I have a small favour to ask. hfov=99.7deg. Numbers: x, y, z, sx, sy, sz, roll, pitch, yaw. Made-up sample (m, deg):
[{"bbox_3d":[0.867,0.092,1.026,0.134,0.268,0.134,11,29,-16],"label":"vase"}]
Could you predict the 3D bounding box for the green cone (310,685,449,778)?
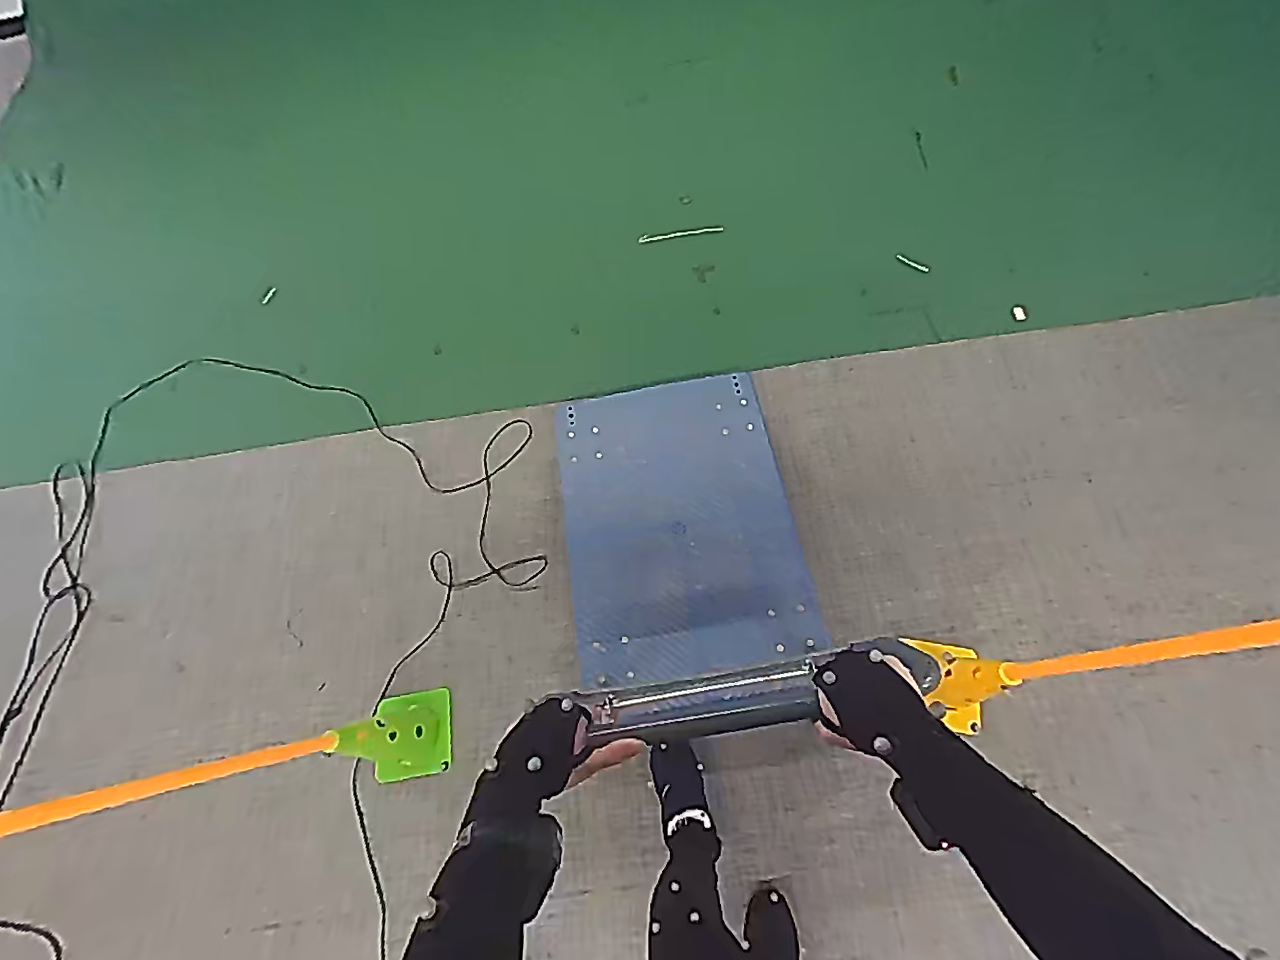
[{"bbox_3d":[-0.612,0.580,1.240,0.202,0.368,0.200,-12,66,3],"label":"green cone"}]
